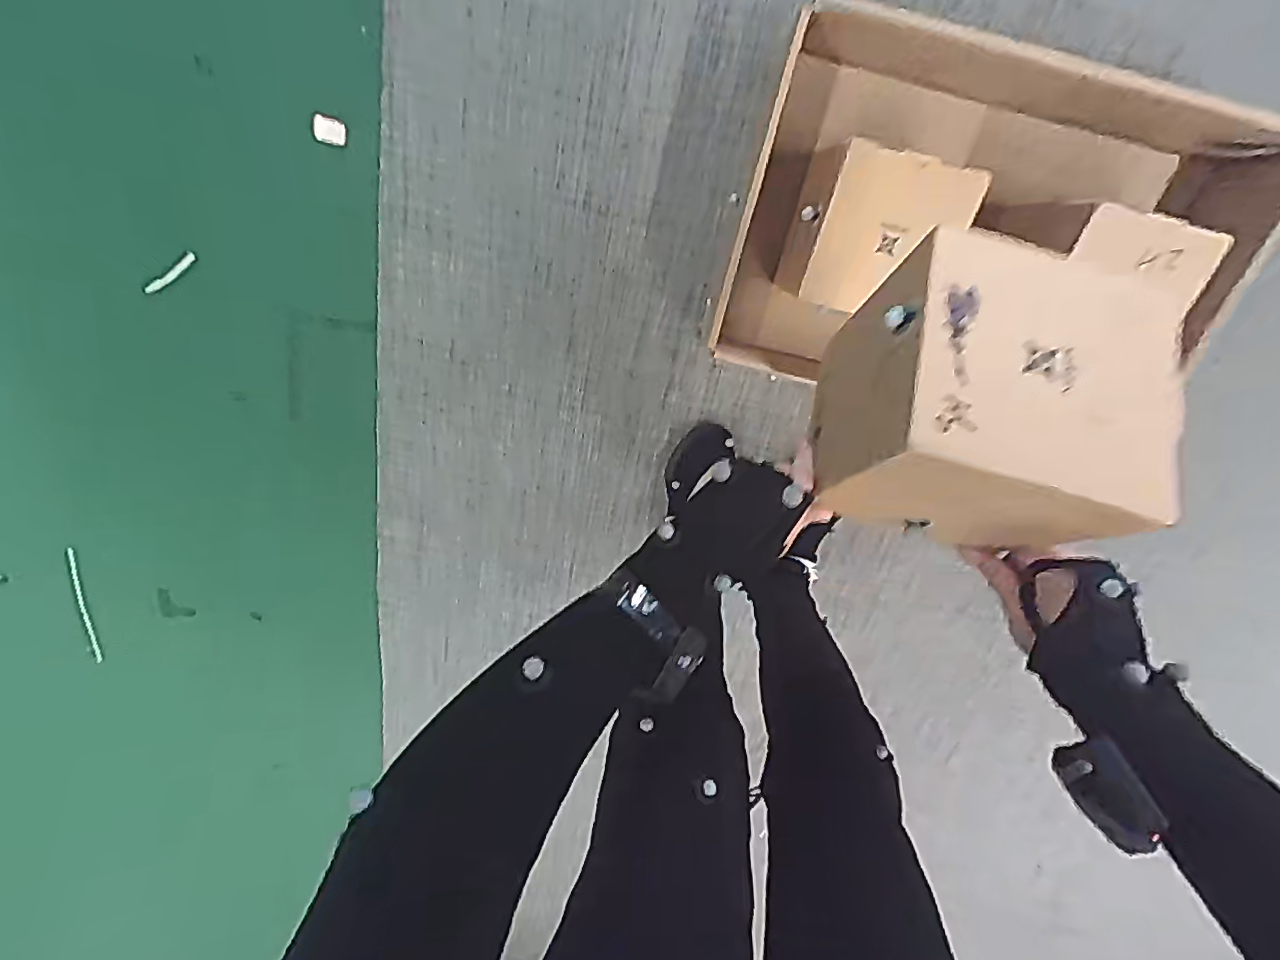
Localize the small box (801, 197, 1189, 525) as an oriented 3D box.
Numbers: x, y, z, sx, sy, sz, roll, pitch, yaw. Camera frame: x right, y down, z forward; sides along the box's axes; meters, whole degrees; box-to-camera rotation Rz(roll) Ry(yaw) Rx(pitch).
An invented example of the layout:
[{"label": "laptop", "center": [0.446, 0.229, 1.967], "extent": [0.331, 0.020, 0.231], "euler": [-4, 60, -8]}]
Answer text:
[{"label": "small box", "center": [0.251, -0.068, 0.415], "extent": [0.179, 0.176, 0.168], "euler": [17, 76, -4]}]

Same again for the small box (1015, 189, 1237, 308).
[{"label": "small box", "center": [0.573, -0.259, 0.706], "extent": [0.168, 0.176, 0.179], "euler": [14, 115, -4]}]

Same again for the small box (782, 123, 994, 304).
[{"label": "small box", "center": [0.295, -0.323, 0.694], "extent": [0.168, 0.176, 0.179], "euler": [13, 115, -3]}]
